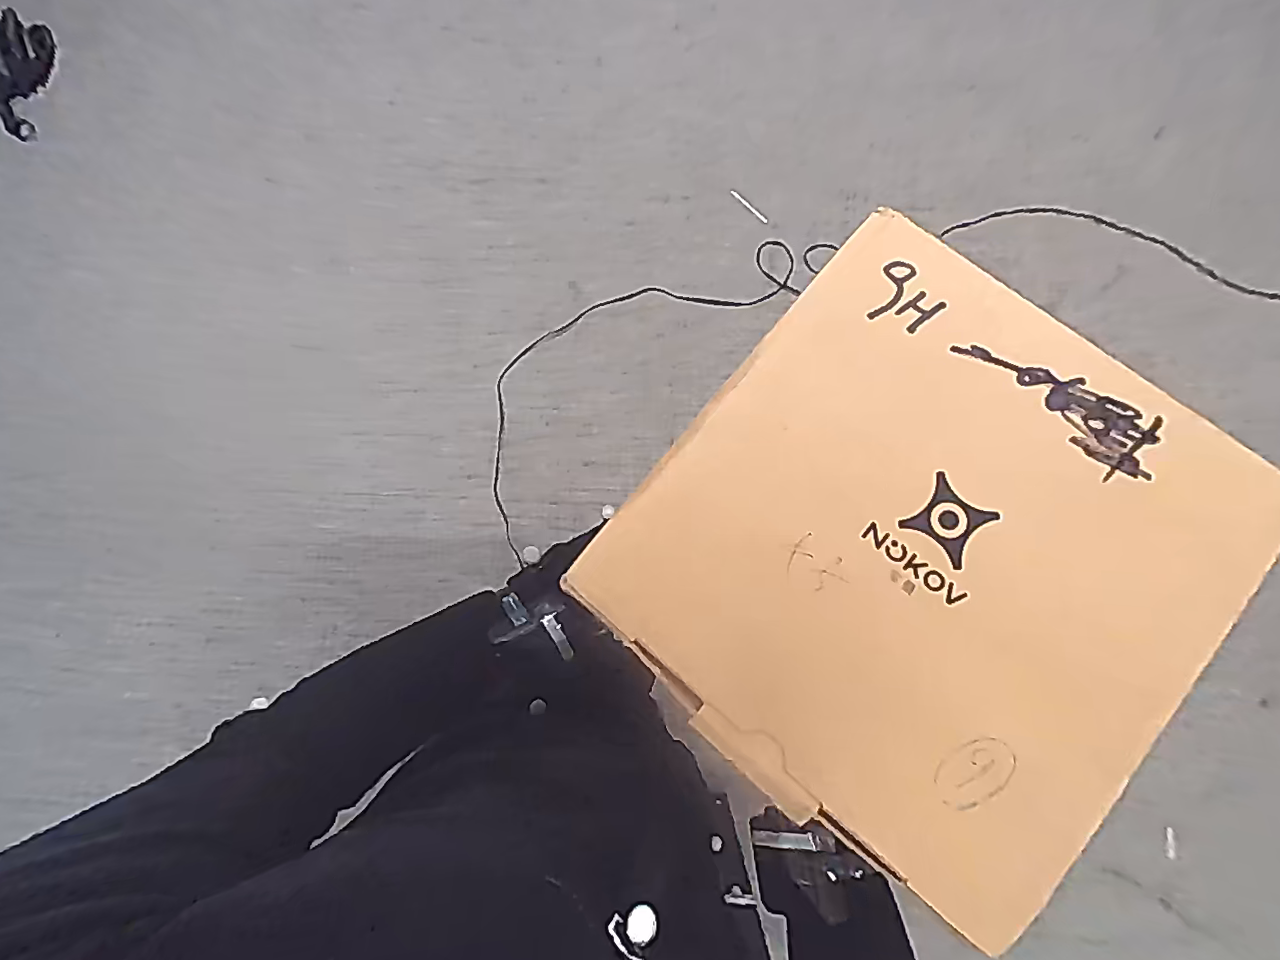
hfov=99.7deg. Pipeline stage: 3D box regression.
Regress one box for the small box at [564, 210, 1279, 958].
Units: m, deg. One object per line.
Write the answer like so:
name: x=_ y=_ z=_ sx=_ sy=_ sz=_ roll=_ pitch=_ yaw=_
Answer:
small box: x=0.096 y=0.033 z=0.248 sx=0.168 sy=0.176 sz=0.179 roll=40 pitch=86 yaw=8
